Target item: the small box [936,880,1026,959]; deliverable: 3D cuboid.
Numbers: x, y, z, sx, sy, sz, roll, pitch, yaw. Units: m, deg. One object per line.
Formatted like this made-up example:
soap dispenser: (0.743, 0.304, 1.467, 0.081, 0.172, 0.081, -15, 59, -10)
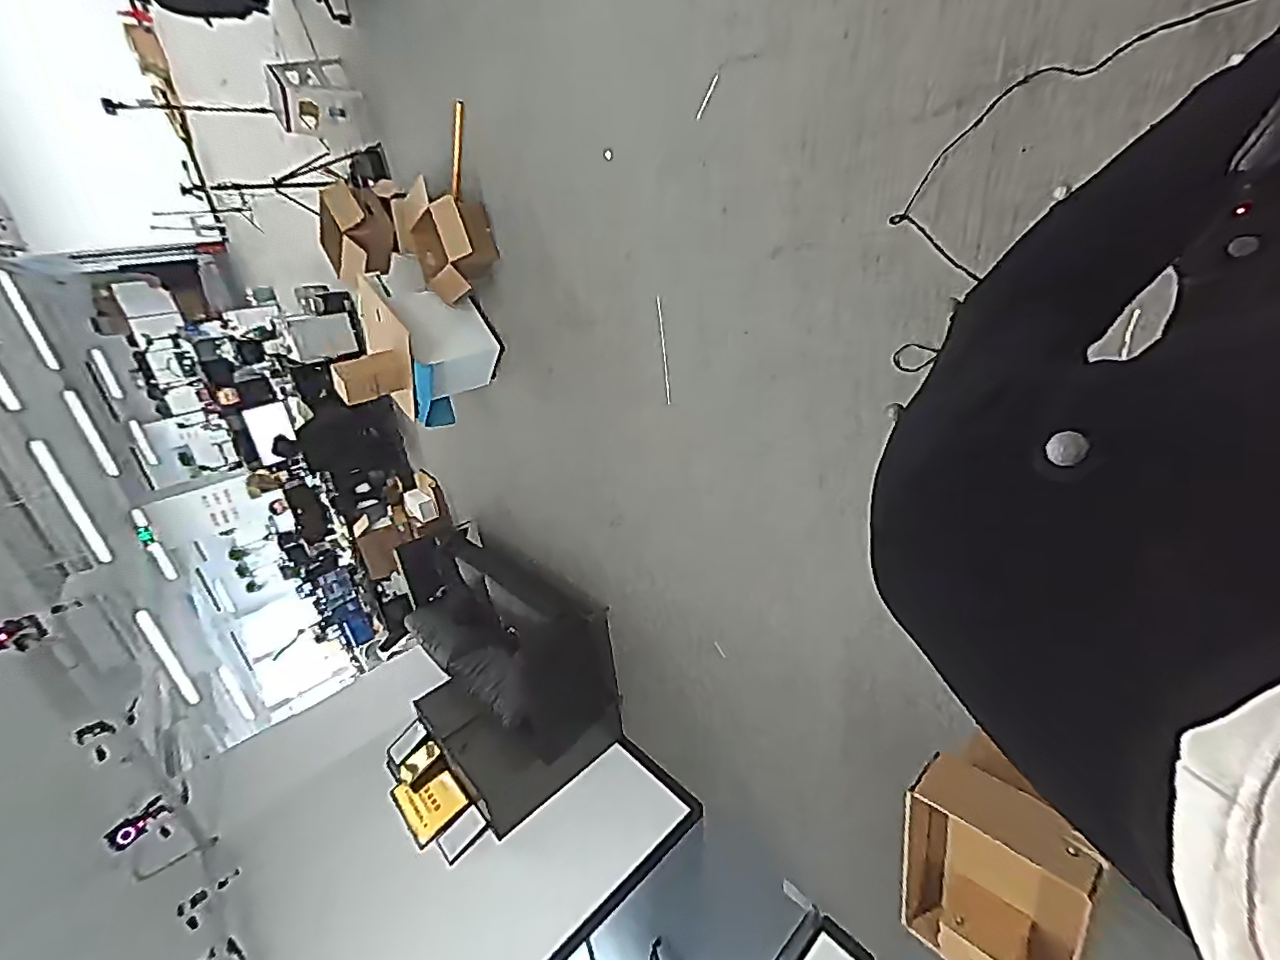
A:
small box: (0.958, 1.285, 1.517, 0.179, 0.176, 0.168, 12, 121, 49)
